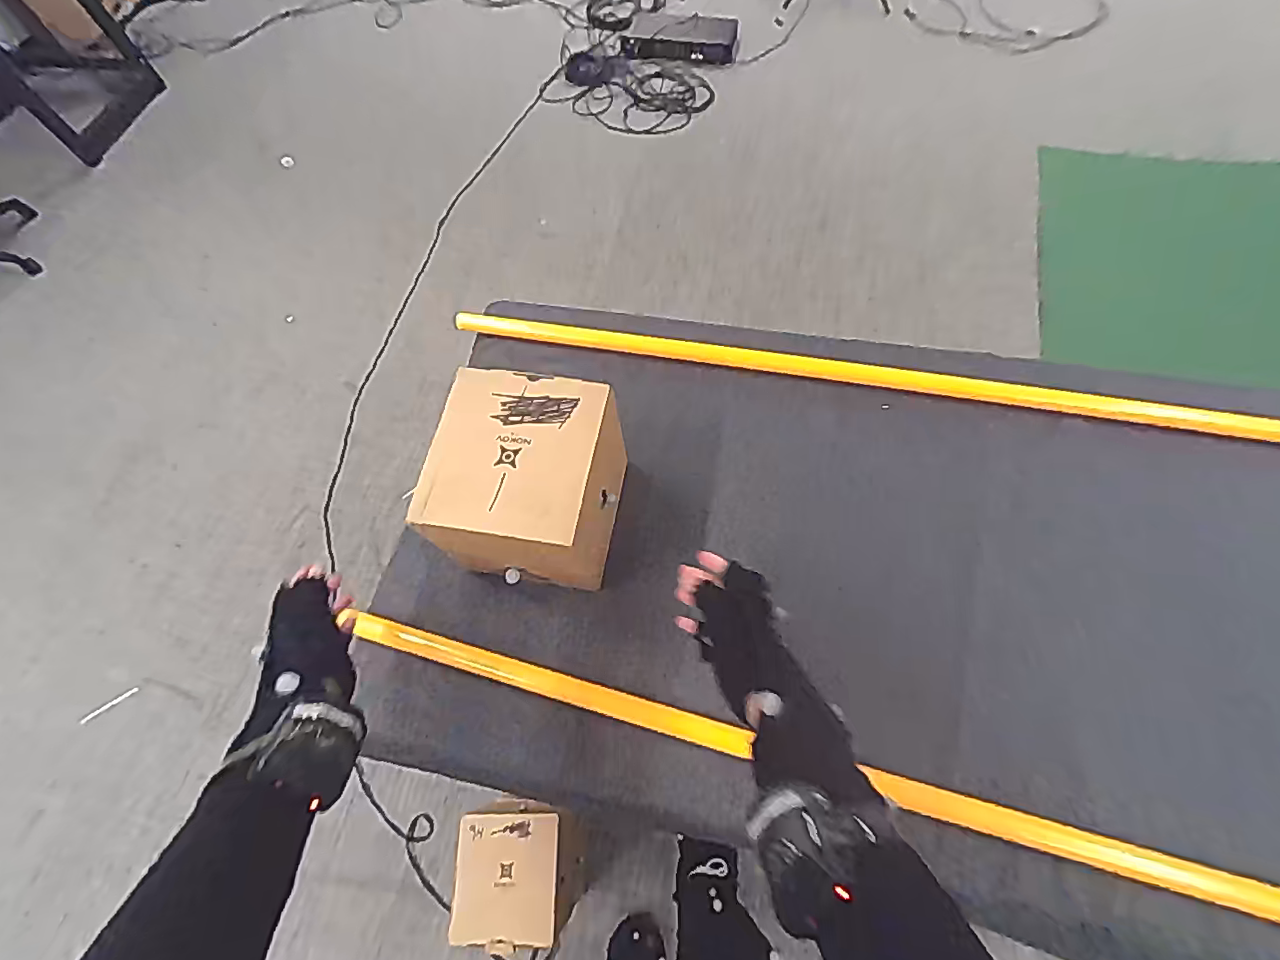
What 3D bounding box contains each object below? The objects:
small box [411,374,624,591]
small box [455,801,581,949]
[{"bbox_3d":[-0.116,0.009,0.600,0.168,0.176,0.179,7,66,9],"label":"small box"},{"bbox_3d":[-0.198,0.664,0.927,0.168,0.176,0.179,-7,64,5],"label":"small box"}]
